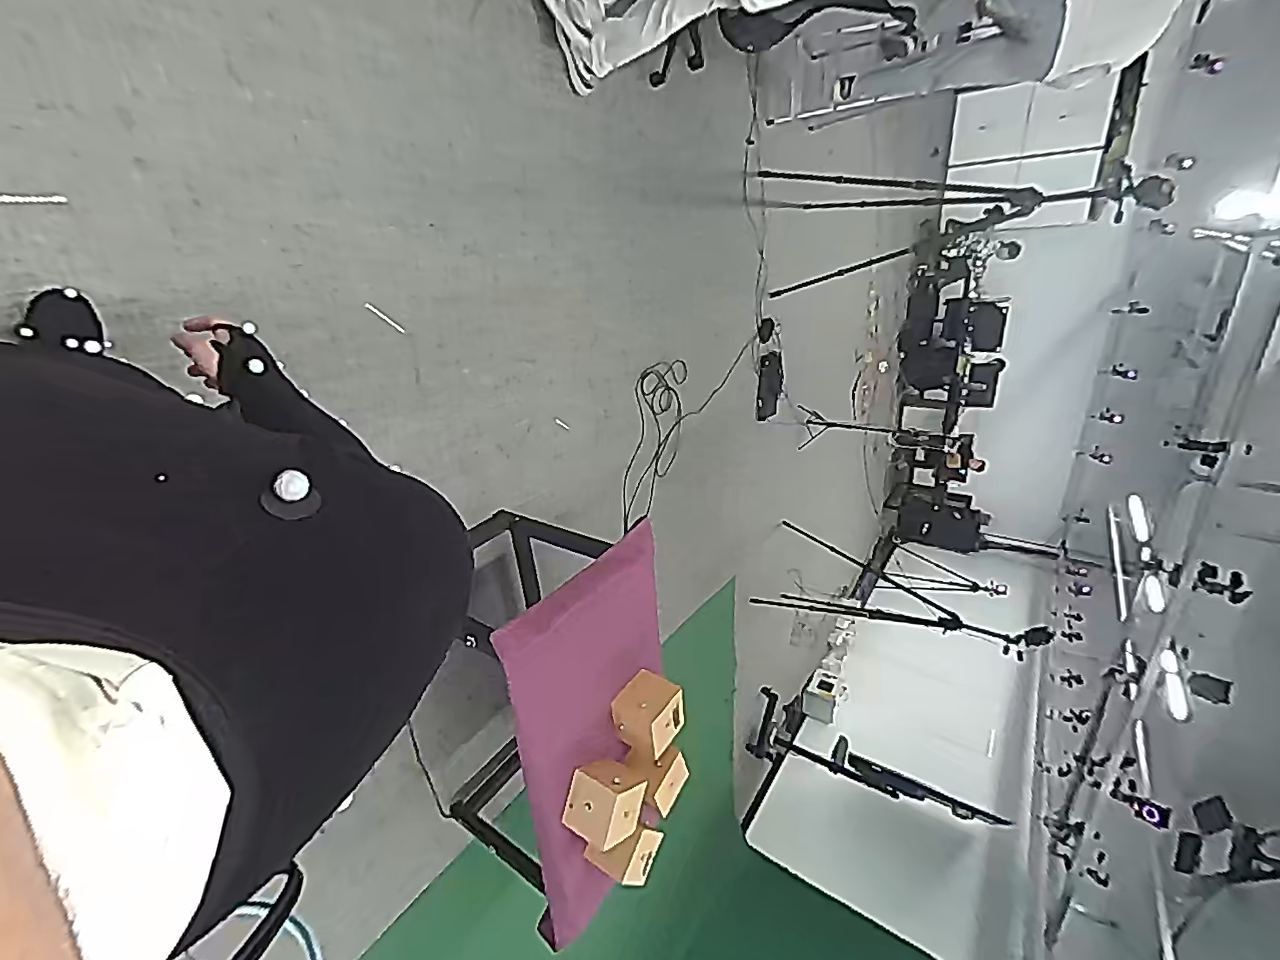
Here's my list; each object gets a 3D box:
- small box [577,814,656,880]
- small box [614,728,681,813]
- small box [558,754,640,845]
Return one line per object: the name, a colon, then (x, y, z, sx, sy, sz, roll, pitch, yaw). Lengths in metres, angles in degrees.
small box: (-0.079, 1.218, 1.833, 0.168, 0.176, 0.179, -62, 142, -23)
small box: (0.021, 1.027, 1.921, 0.179, 0.176, 0.168, -47, 135, -37)
small box: (-0.129, 0.984, 1.680, 0.179, 0.176, 0.168, 23, 81, -57)
